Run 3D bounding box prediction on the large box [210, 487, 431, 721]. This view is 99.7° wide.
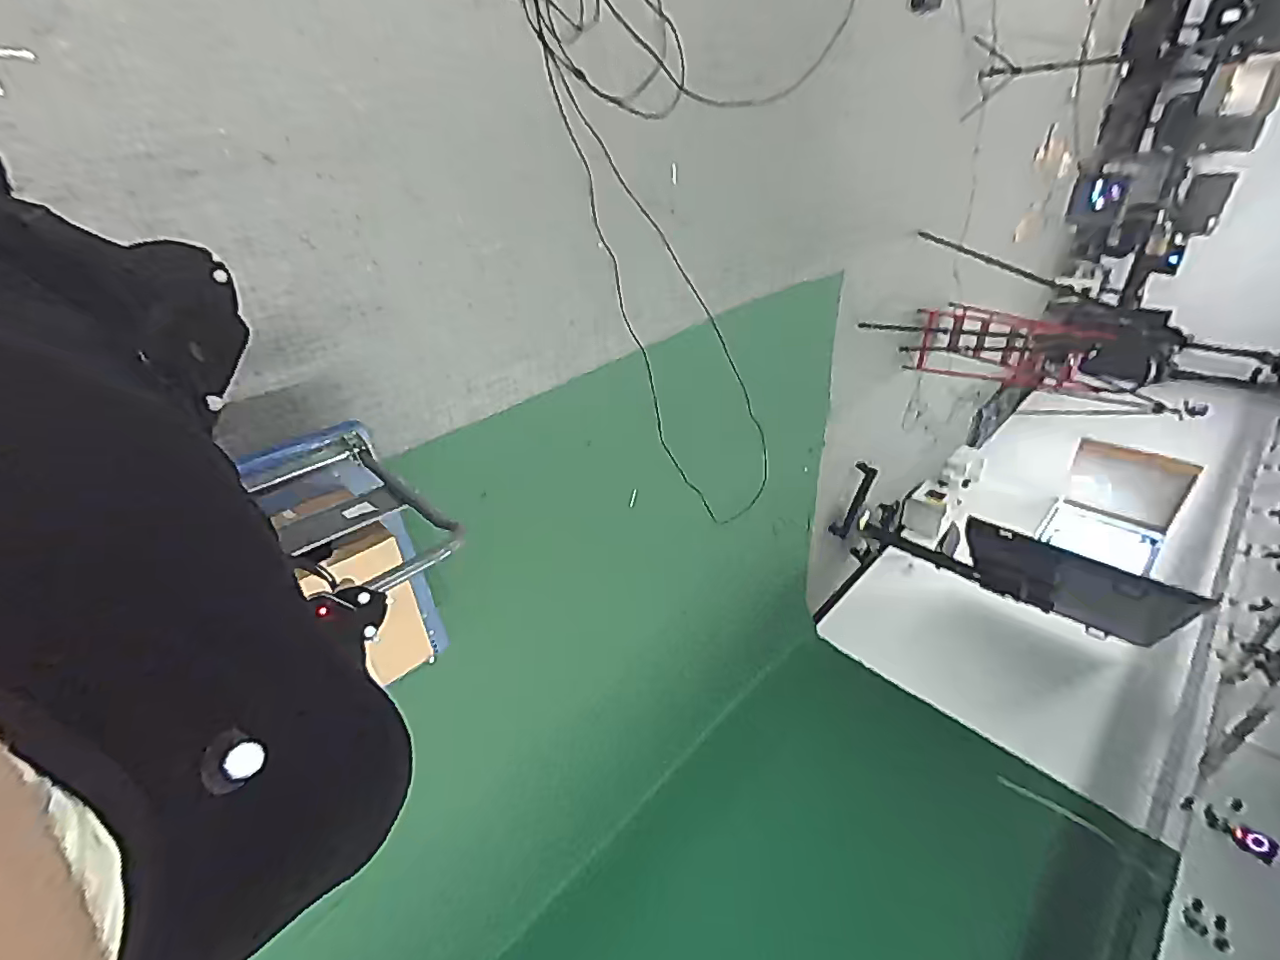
[{"bbox_3d":[-0.782,0.293,1.350,0.320,0.320,0.408,-28,131,-35],"label":"large box"}]
